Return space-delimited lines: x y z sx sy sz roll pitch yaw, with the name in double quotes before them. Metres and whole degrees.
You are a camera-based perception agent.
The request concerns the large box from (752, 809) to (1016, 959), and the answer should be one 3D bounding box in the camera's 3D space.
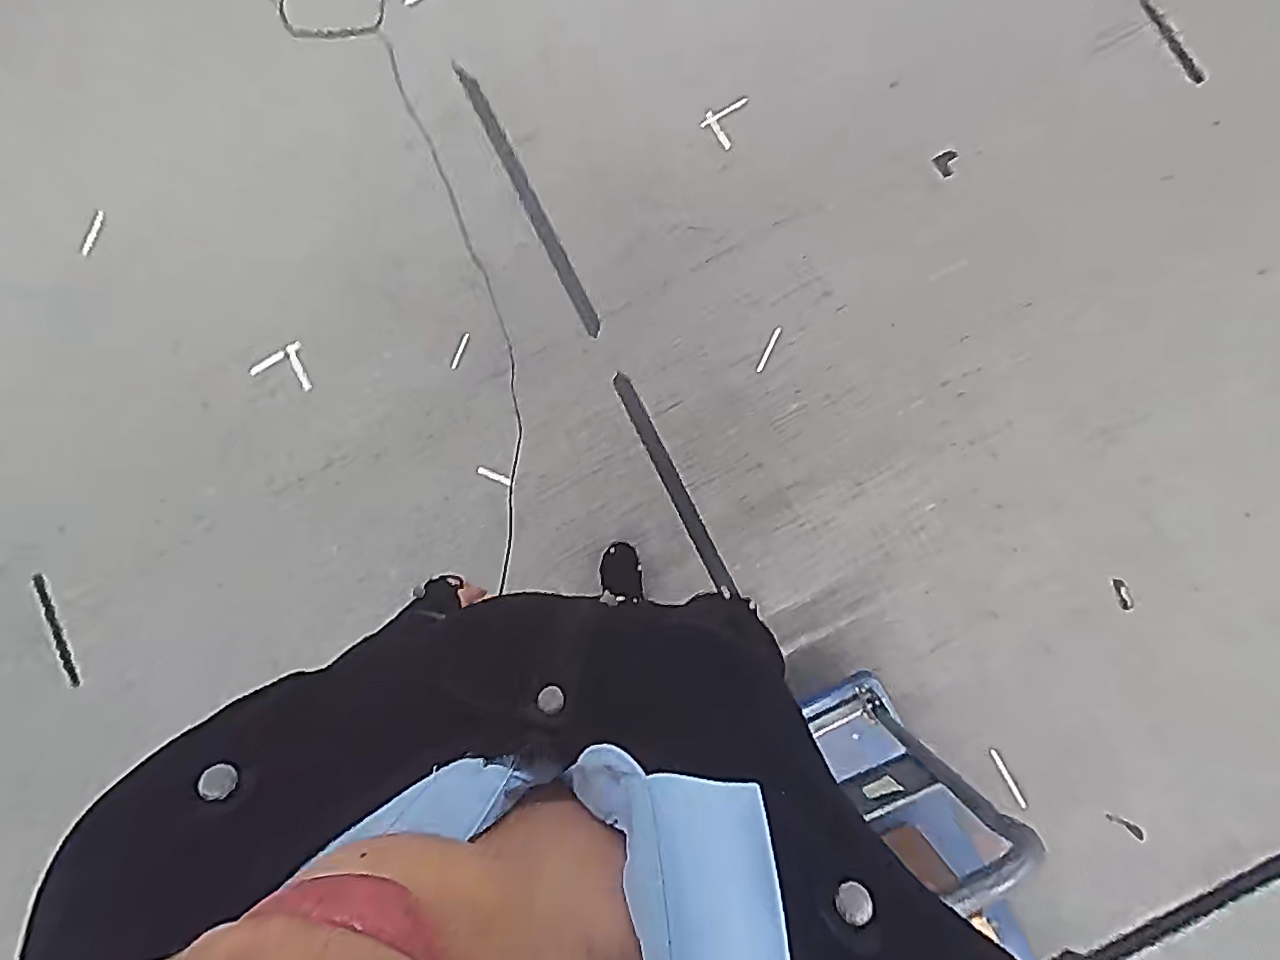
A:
"large box" 0.482 0.943 1.059 0.408 0.320 0.320 -27 83 0
